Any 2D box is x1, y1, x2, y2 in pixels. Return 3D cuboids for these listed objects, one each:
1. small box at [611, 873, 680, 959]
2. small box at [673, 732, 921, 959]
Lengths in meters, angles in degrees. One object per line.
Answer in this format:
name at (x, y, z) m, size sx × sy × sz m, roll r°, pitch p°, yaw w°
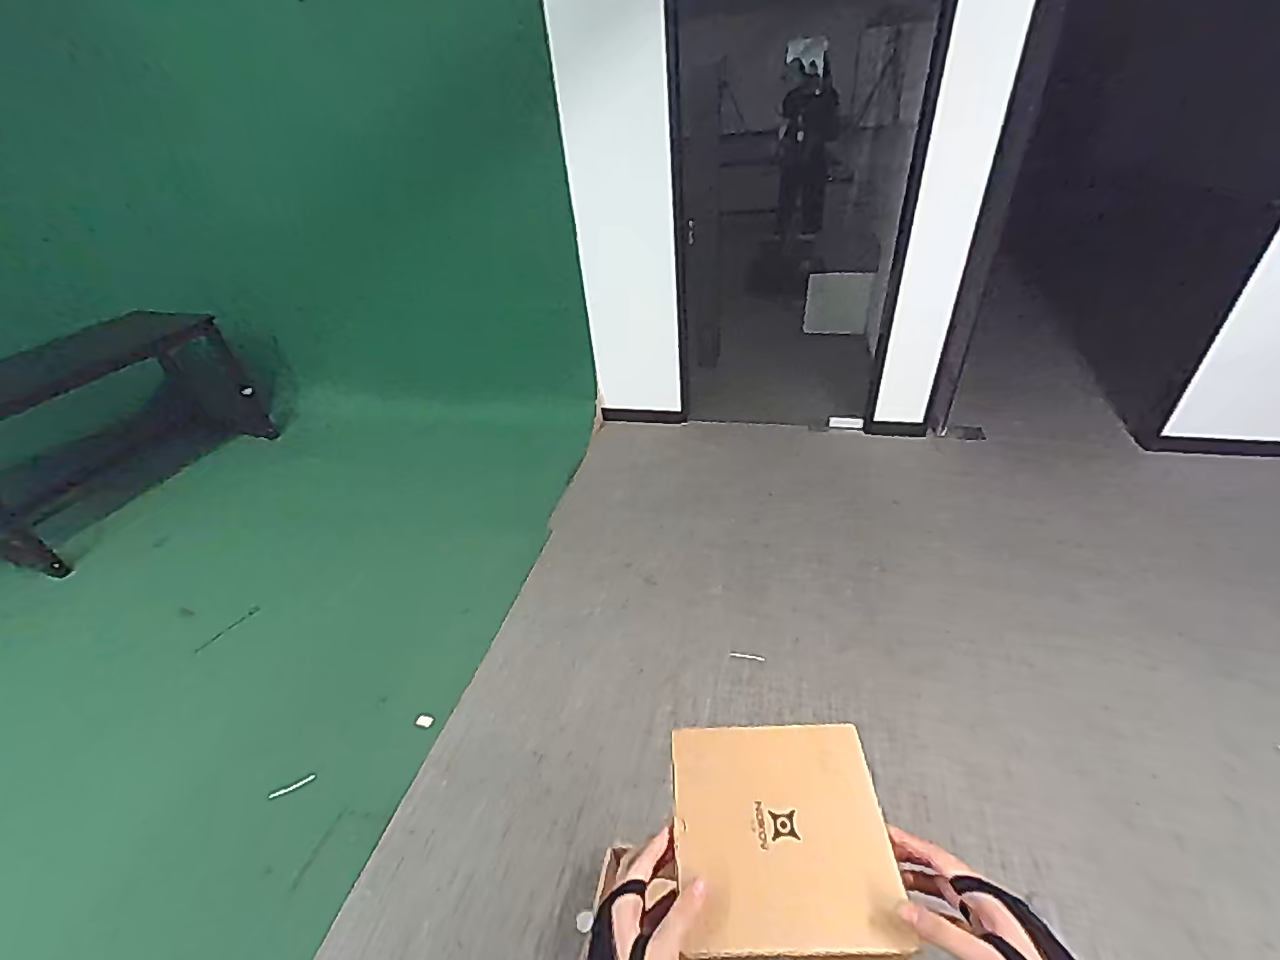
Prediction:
small box at (0.046, 0.848, 0.964) m, size 0.168 × 0.176 × 0.179 m, roll 5°, pitch 39°, yaw 13°
small box at (0.122, 0.355, 0.500) m, size 0.179 × 0.176 × 0.168 m, roll -4°, pitch 38°, yaw 3°
